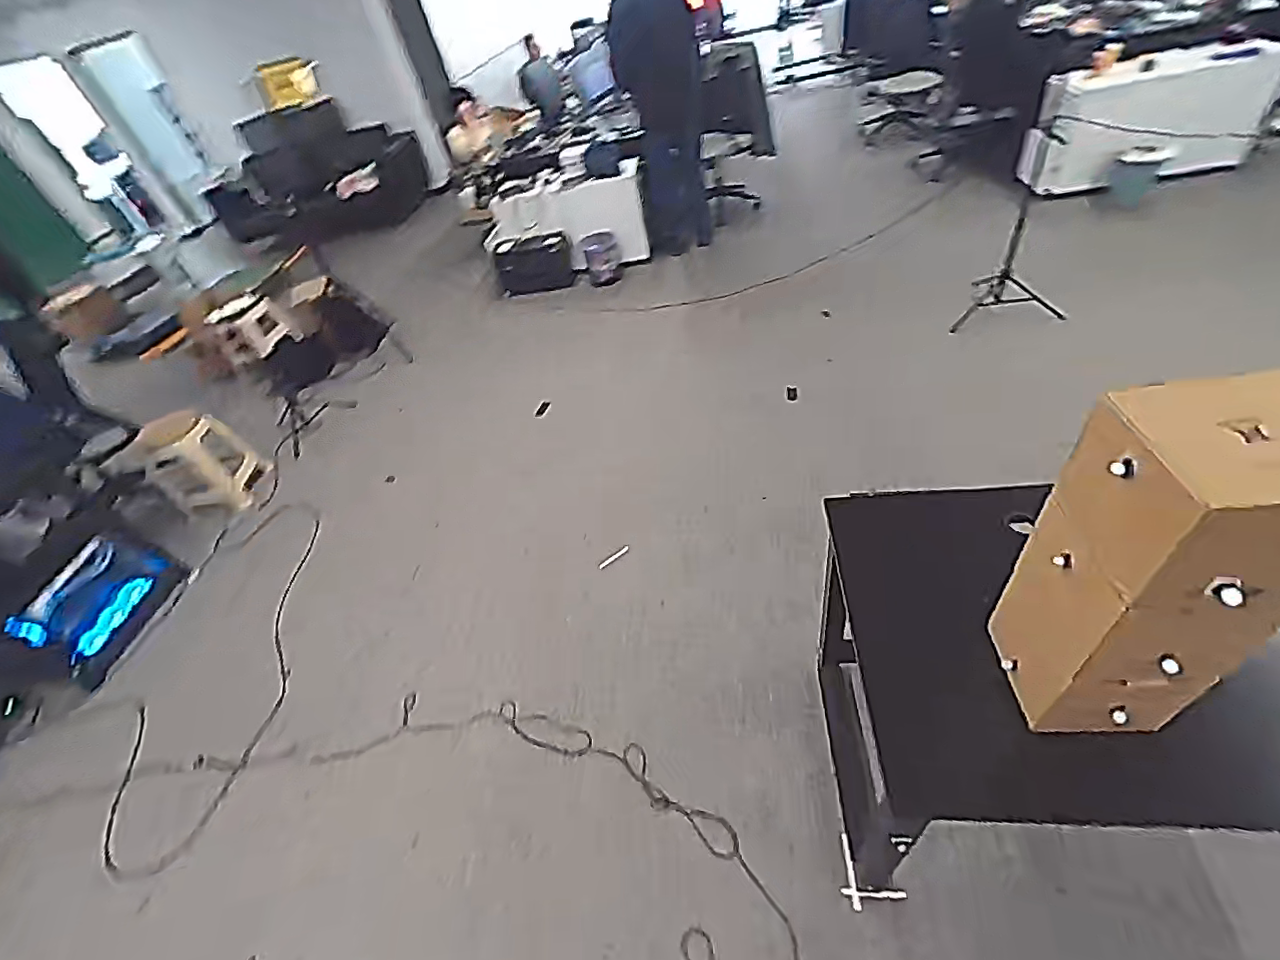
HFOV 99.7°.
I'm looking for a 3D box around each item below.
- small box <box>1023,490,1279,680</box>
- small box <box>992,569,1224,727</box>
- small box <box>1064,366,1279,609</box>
[{"bbox_3d":[0.612,0.124,0.664,0.168,0.176,0.179,-6,44,11],"label":"small box"},{"bbox_3d":[0.644,0.241,0.775,0.168,0.176,0.179,-6,45,9],"label":"small box"},{"bbox_3d":[0.582,0.010,0.552,0.168,0.176,0.179,-7,44,11],"label":"small box"}]
